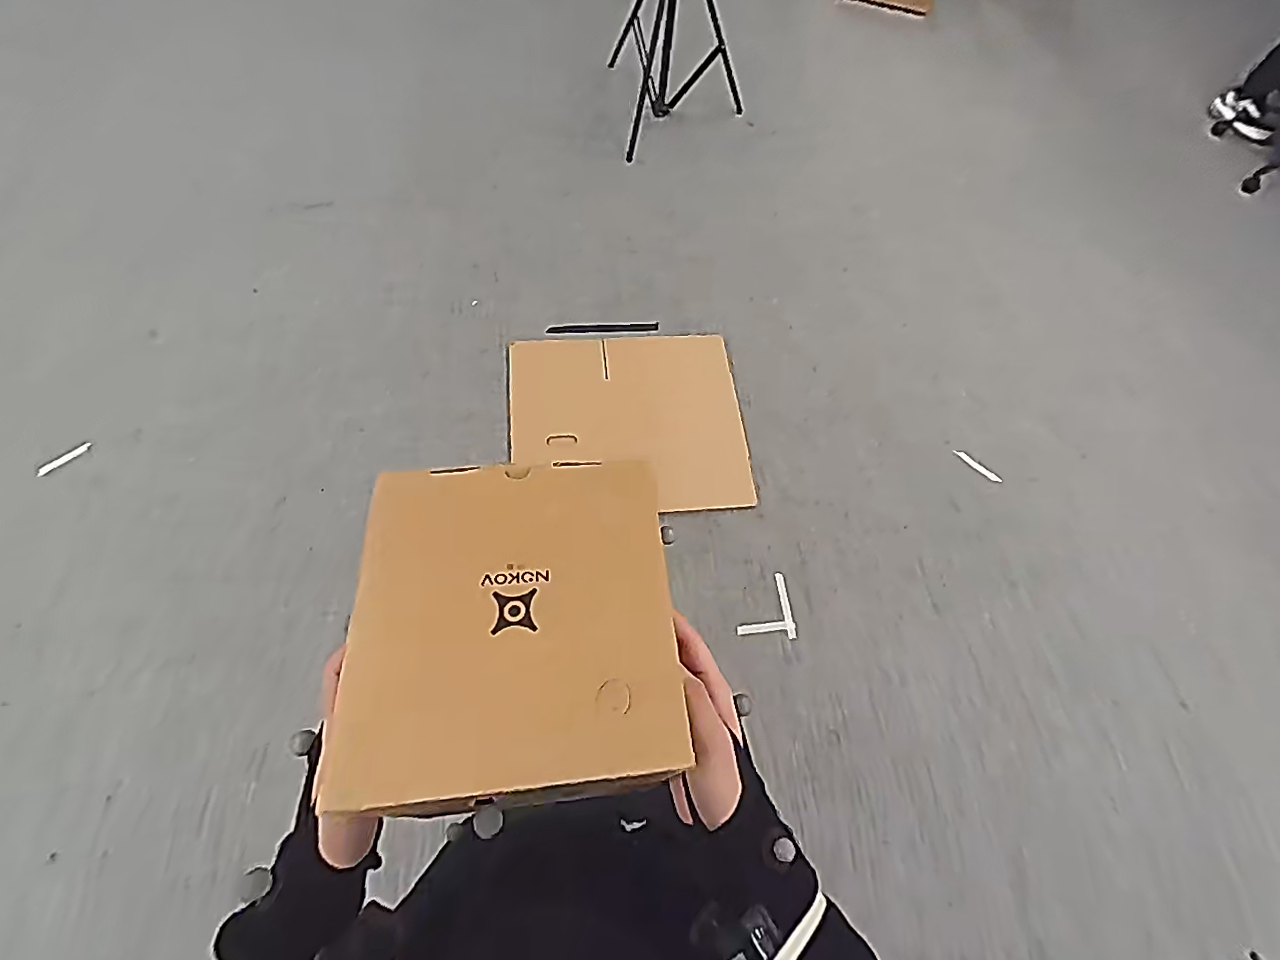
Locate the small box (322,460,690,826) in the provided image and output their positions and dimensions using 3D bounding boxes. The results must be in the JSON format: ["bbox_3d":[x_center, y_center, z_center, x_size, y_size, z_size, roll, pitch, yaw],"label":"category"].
[{"bbox_3d":[-0.070,0.109,0.348,0.168,0.176,0.179,-4,57,-7],"label":"small box"}]
